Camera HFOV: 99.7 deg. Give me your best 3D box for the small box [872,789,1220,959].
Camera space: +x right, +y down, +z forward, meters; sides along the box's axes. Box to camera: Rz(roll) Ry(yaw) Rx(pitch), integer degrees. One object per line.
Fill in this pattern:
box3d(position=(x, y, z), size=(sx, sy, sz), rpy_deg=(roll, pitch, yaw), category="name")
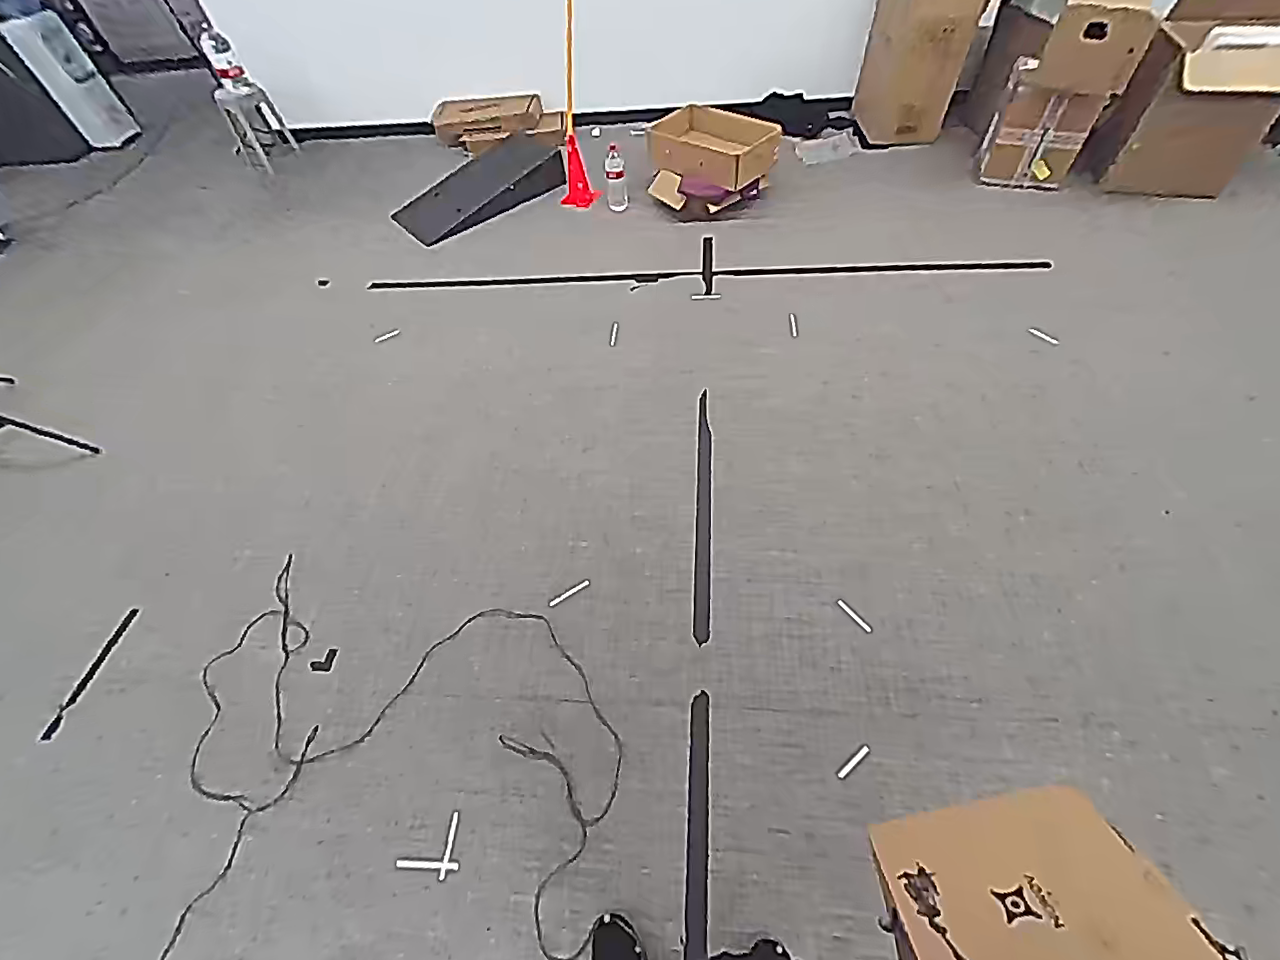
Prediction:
box3d(position=(0.303, 0.379, 0.411), size=(0.179, 0.176, 0.168), rpy_deg=(-15, 15, 8), category="small box")
